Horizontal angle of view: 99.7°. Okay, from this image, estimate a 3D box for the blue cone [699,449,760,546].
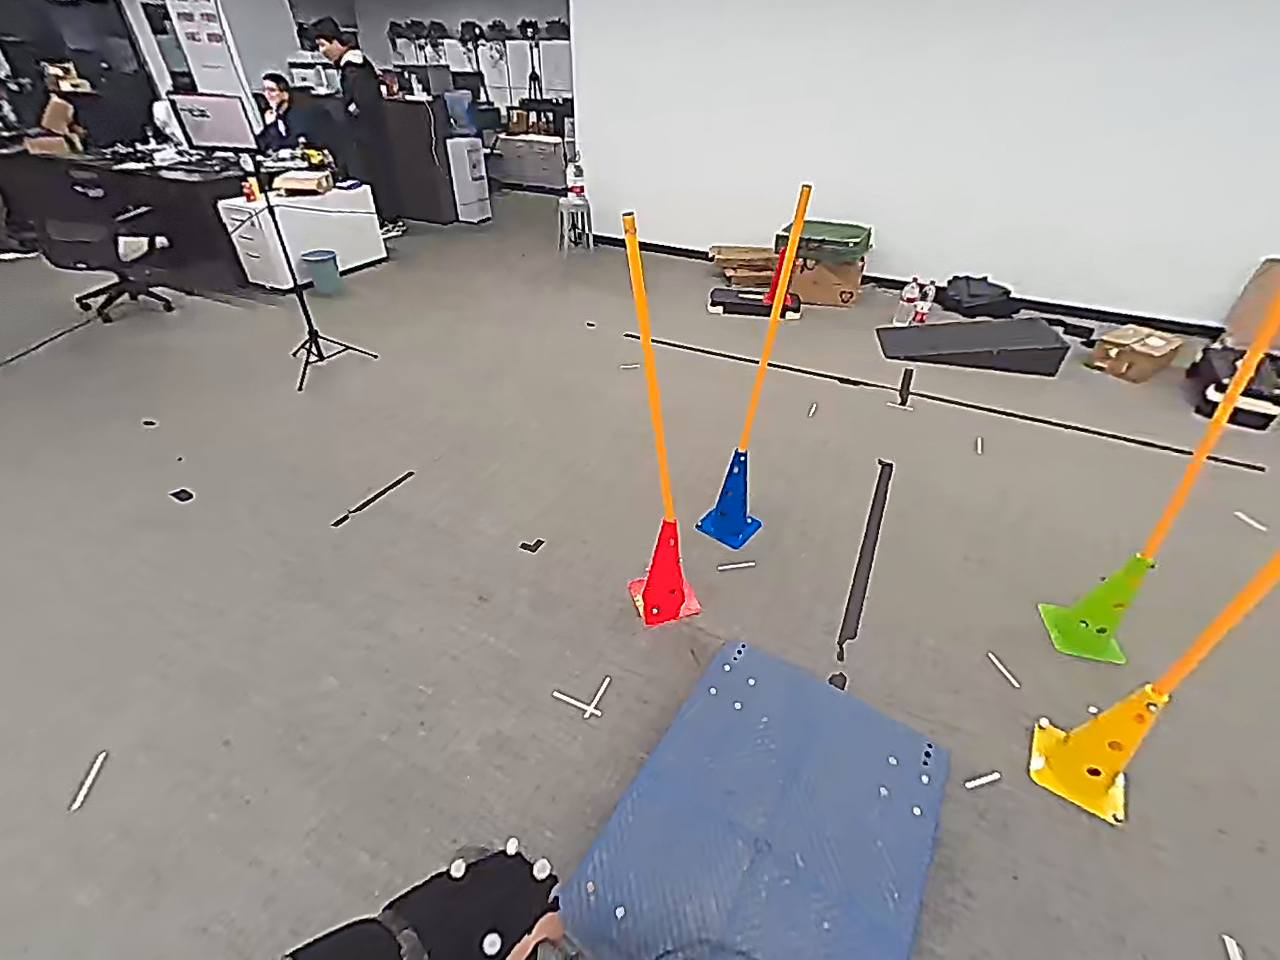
[{"bbox_3d":[0.354,0.043,2.005,0.193,0.380,0.192,29,46,31],"label":"blue cone"}]

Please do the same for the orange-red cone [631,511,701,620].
[{"bbox_3d":[0.091,0.243,1.709,0.199,0.360,0.198,-9,39,-16],"label":"orange-red cone"}]

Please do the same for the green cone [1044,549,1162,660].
[{"bbox_3d":[1.434,0.343,1.630,0.200,0.368,0.202,9,39,9],"label":"green cone"}]
